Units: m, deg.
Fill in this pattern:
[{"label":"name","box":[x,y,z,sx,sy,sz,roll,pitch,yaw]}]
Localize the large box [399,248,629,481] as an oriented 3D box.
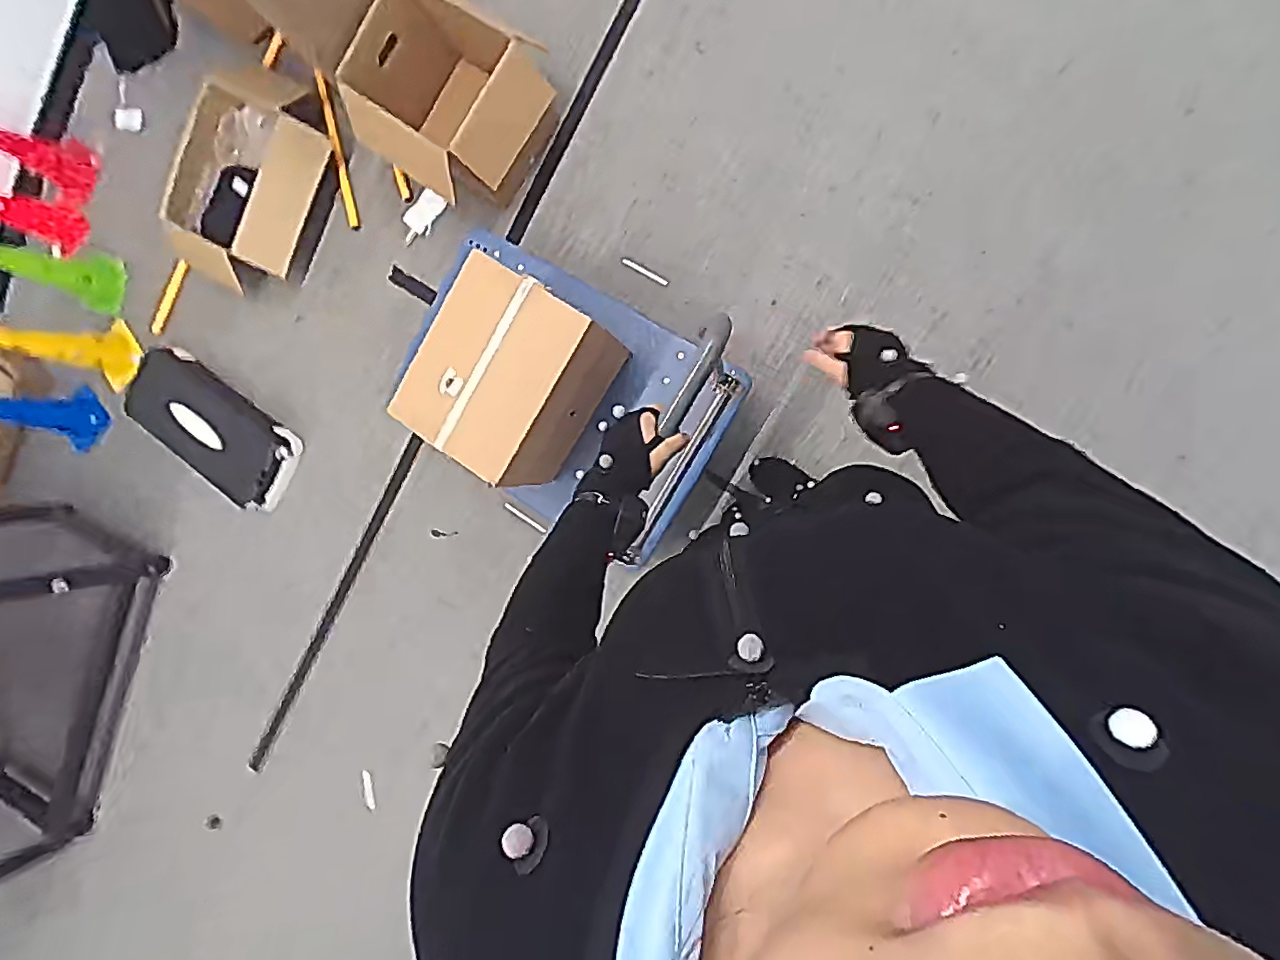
[{"label":"large box","box":[-0.278,-0.252,1.284,0.320,0.320,0.408,33,99,11]}]
